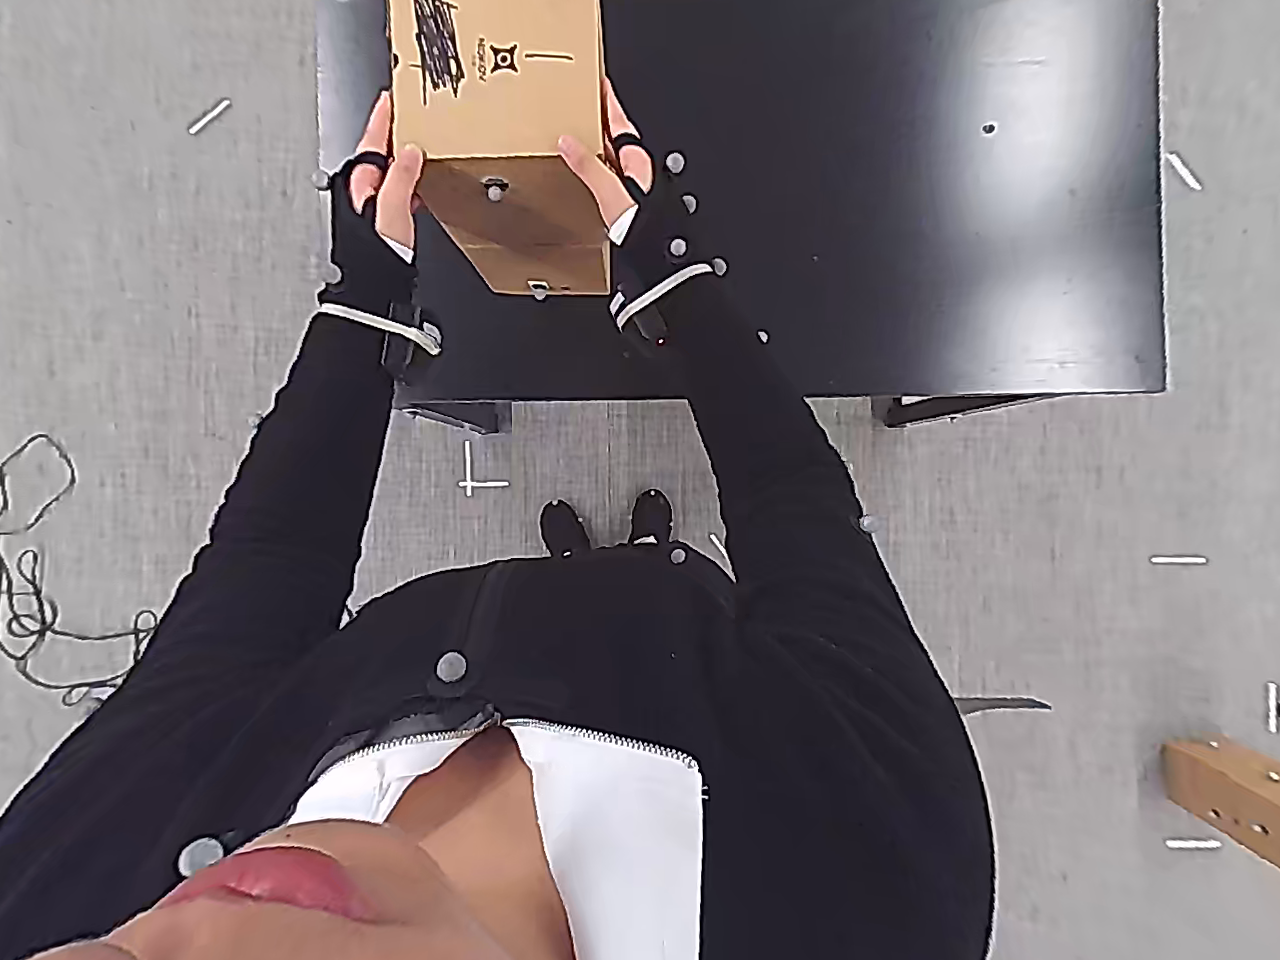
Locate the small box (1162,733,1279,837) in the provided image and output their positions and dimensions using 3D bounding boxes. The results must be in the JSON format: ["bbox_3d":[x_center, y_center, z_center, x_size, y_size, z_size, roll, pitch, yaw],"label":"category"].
[{"bbox_3d":[1.556,0.806,1.441,0.168,0.176,0.179,-6,90,-1],"label":"small box"}]

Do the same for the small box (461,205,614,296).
[{"bbox_3d":[-0.121,-0.352,0.691,0.168,0.176,0.179,-1,91,0],"label":"small box"}]

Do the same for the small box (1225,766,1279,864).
[{"bbox_3d":[1.548,0.805,1.278,0.179,0.176,0.168,-8,91,0],"label":"small box"}]

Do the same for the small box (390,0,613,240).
[{"bbox_3d":[-0.119,-0.350,0.527,0.179,0.176,0.168,-2,90,-1],"label":"small box"}]
